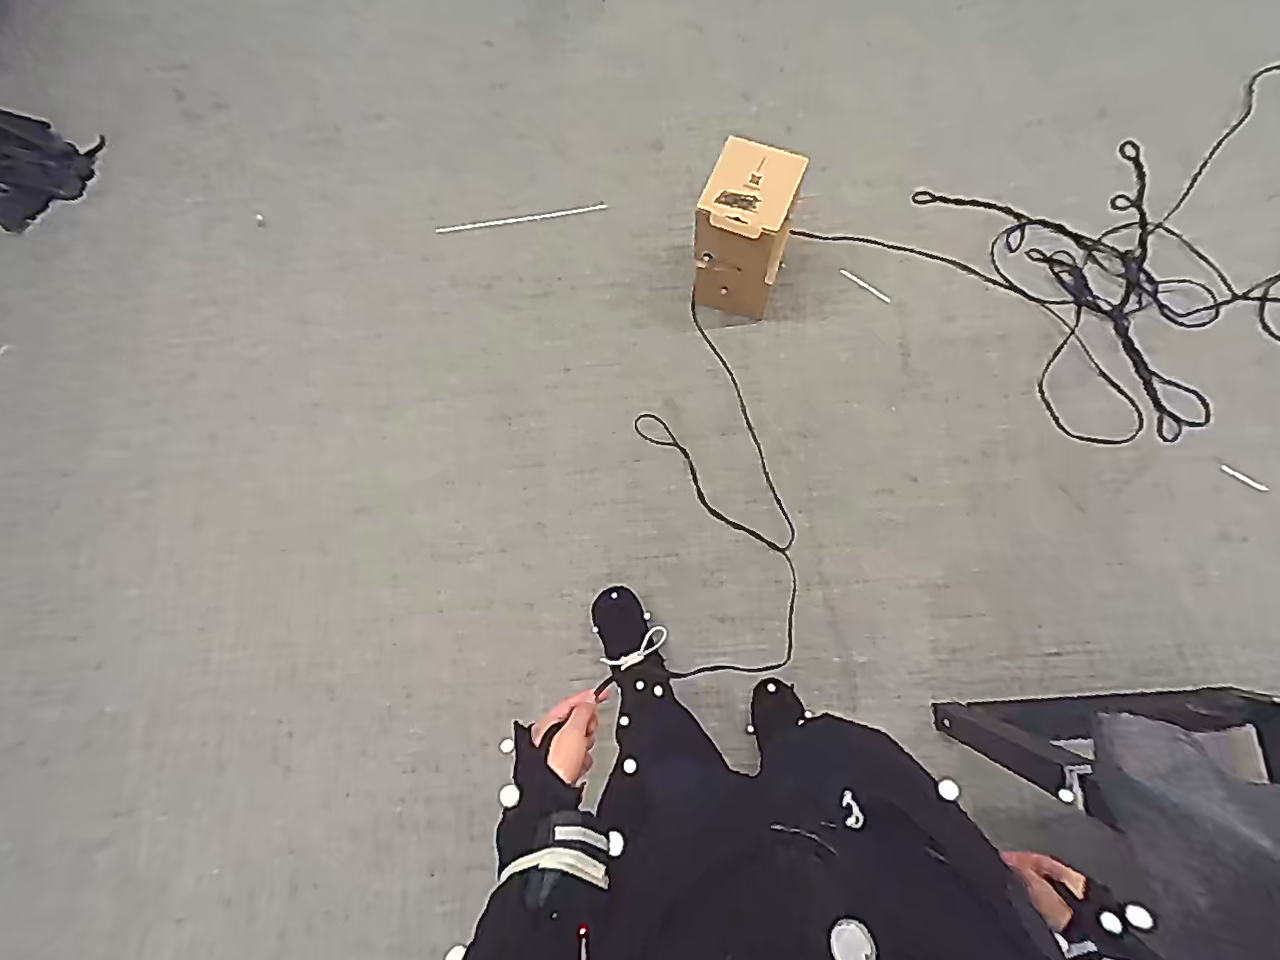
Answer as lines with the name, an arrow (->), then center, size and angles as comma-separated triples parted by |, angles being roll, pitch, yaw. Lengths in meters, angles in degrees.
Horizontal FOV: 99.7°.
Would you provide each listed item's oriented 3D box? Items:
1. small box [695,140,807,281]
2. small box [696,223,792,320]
small box -> 0.222, -0.546, 1.115 | 0.168, 0.176, 0.179 | 23, 81, 9
small box -> 0.237, -0.502, 1.274 | 0.179, 0.176, 0.168 | 17, 80, 9
